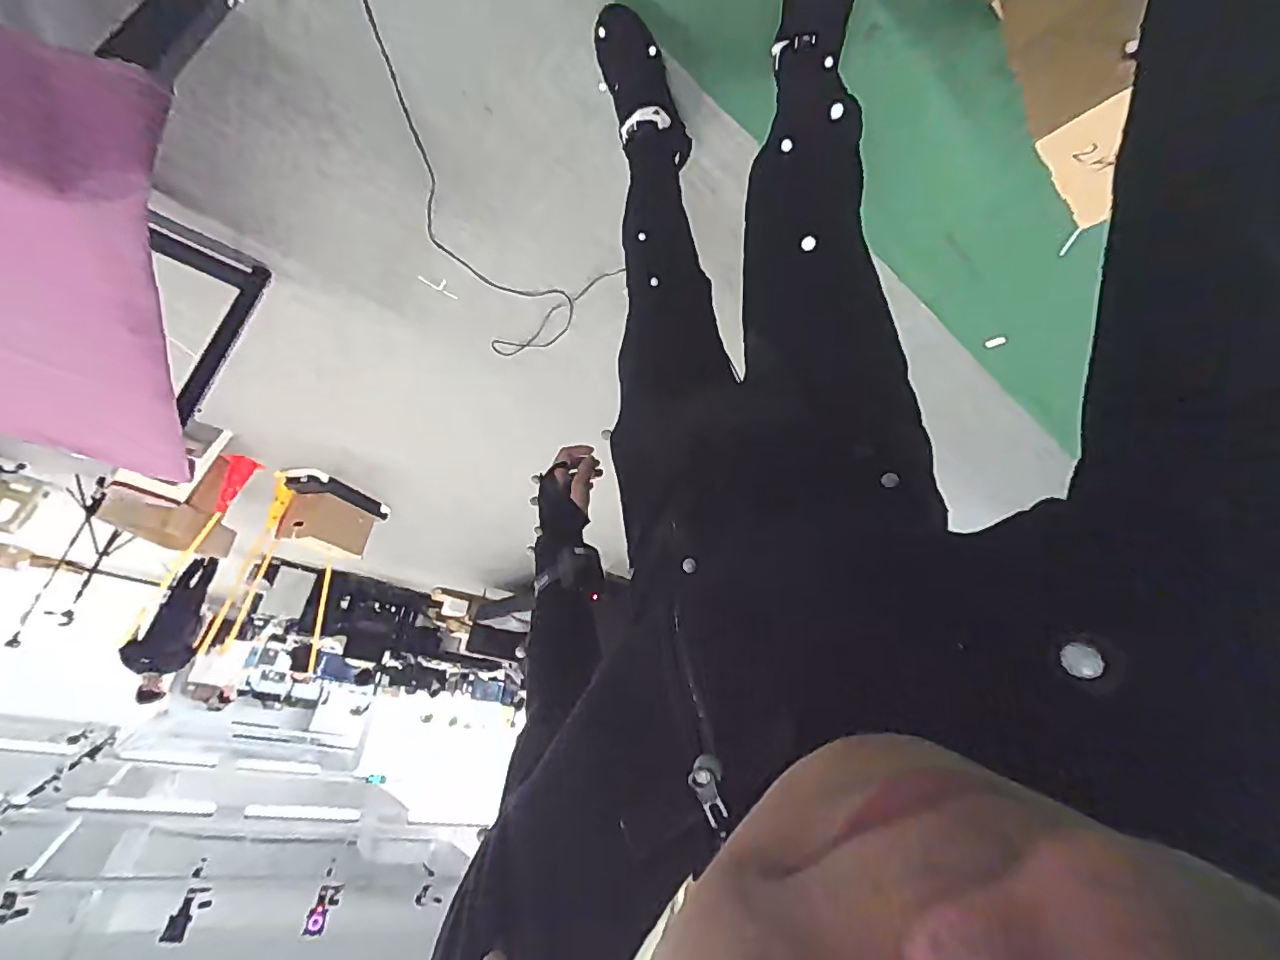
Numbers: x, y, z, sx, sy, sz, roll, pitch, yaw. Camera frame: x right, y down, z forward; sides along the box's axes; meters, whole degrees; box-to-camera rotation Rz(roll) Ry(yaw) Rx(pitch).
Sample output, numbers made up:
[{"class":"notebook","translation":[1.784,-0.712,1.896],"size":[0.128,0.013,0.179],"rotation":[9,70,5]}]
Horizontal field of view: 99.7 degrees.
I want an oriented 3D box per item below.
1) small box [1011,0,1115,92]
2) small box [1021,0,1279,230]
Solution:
[{"class":"small box","translation":[0.607,-0.592,0.698],"size":[0.168,0.176,0.179],"rotation":[24,153,-31]},{"class":"small box","translation":[0.580,-0.445,0.628],"size":[0.168,0.176,0.179],"rotation":[26,152,-32]}]
